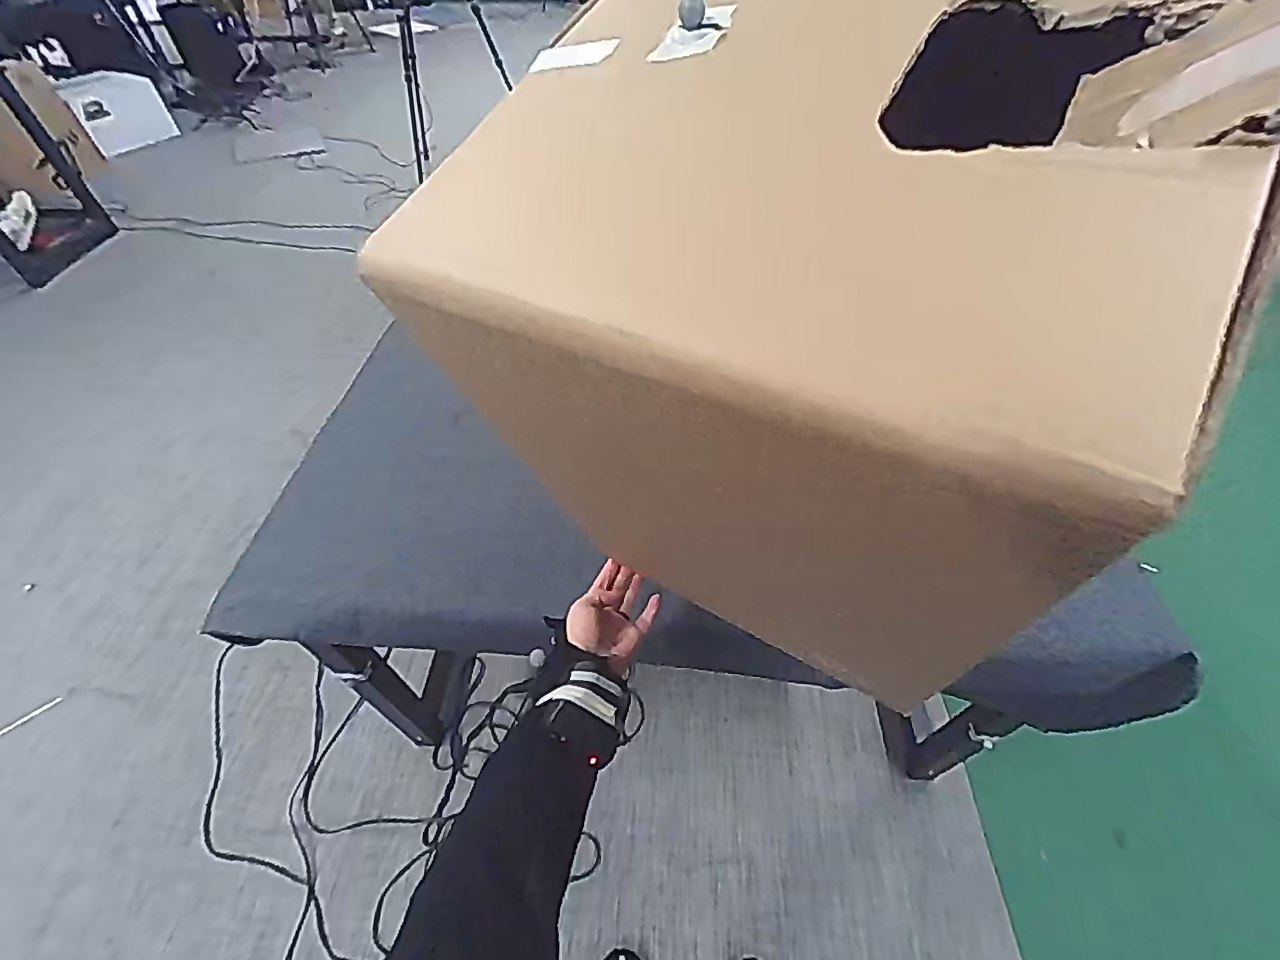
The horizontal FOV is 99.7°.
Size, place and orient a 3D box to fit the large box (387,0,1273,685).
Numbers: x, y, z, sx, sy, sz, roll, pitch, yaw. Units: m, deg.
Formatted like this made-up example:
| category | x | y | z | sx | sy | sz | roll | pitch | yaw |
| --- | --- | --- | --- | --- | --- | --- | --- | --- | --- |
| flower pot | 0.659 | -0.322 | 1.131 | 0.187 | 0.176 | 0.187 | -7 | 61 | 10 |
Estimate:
| category | x | y | z | sx | sy | sz | roll | pitch | yaw |
| --- | --- | --- | --- | --- | --- | --- | --- | --- | --- |
| large box | 0.117 | -0.083 | 0.408 | 0.320 | 0.408 | 0.320 | 24 | 72 | 26 |
